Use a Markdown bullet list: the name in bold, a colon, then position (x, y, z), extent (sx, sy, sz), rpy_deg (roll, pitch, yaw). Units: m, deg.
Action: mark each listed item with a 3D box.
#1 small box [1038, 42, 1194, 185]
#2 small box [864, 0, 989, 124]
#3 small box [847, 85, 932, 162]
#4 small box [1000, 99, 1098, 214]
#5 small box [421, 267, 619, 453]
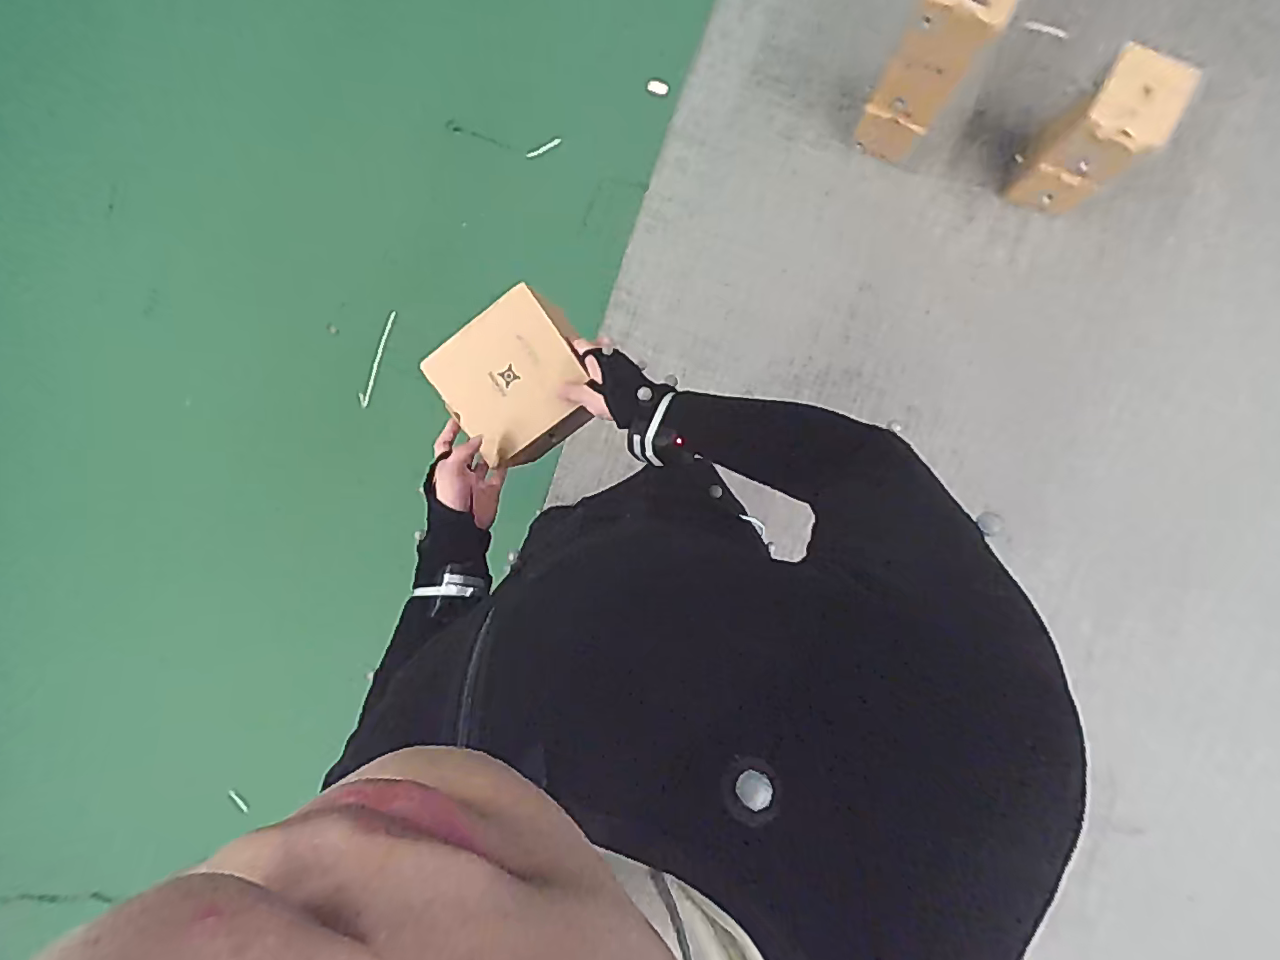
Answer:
- **small box**: position (1.056, -0.815, 1.220), extent (0.168, 0.176, 0.179), rpy_deg (27, 96, 5)
- **small box**: position (0.654, -0.987, 1.261), extent (0.168, 0.176, 0.179), rpy_deg (-33, 90, 9)
- **small box**: position (0.664, -0.979, 1.416), extent (0.168, 0.176, 0.179), rpy_deg (25, 95, 3)
- **small box**: position (1.069, -0.817, 1.385), extent (0.168, 0.176, 0.179), rpy_deg (23, 97, 4)
- **small box**: position (-0.150, -0.151, 0.738), extent (0.179, 0.176, 0.168), rpy_deg (-32, 91, 9)
